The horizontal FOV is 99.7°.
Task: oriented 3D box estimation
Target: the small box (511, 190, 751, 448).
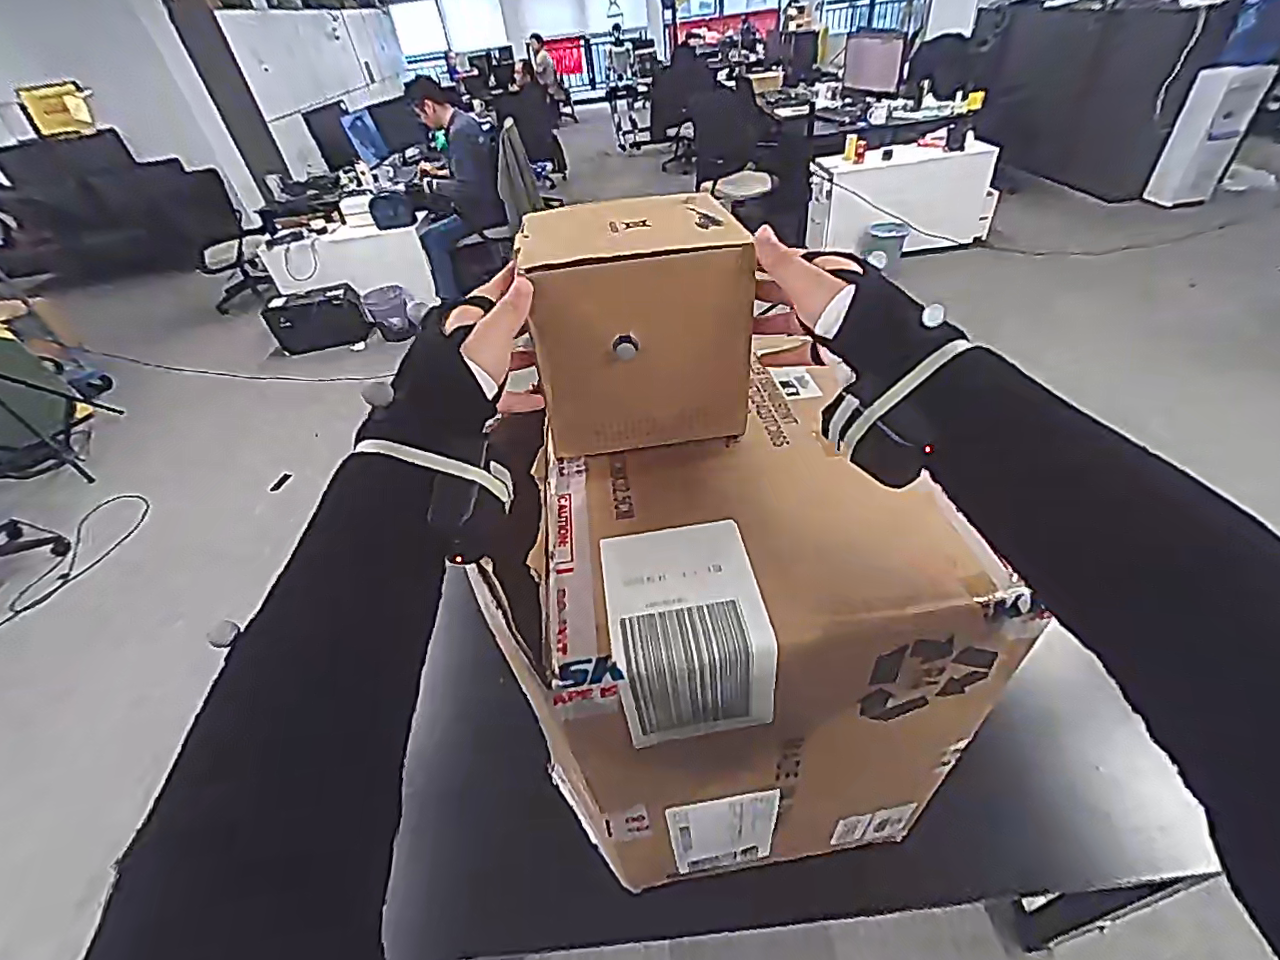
[{"bbox_3d":[-0.005,-0.145,0.490,0.179,0.176,0.168,-8,40,-2],"label":"small box"}]
